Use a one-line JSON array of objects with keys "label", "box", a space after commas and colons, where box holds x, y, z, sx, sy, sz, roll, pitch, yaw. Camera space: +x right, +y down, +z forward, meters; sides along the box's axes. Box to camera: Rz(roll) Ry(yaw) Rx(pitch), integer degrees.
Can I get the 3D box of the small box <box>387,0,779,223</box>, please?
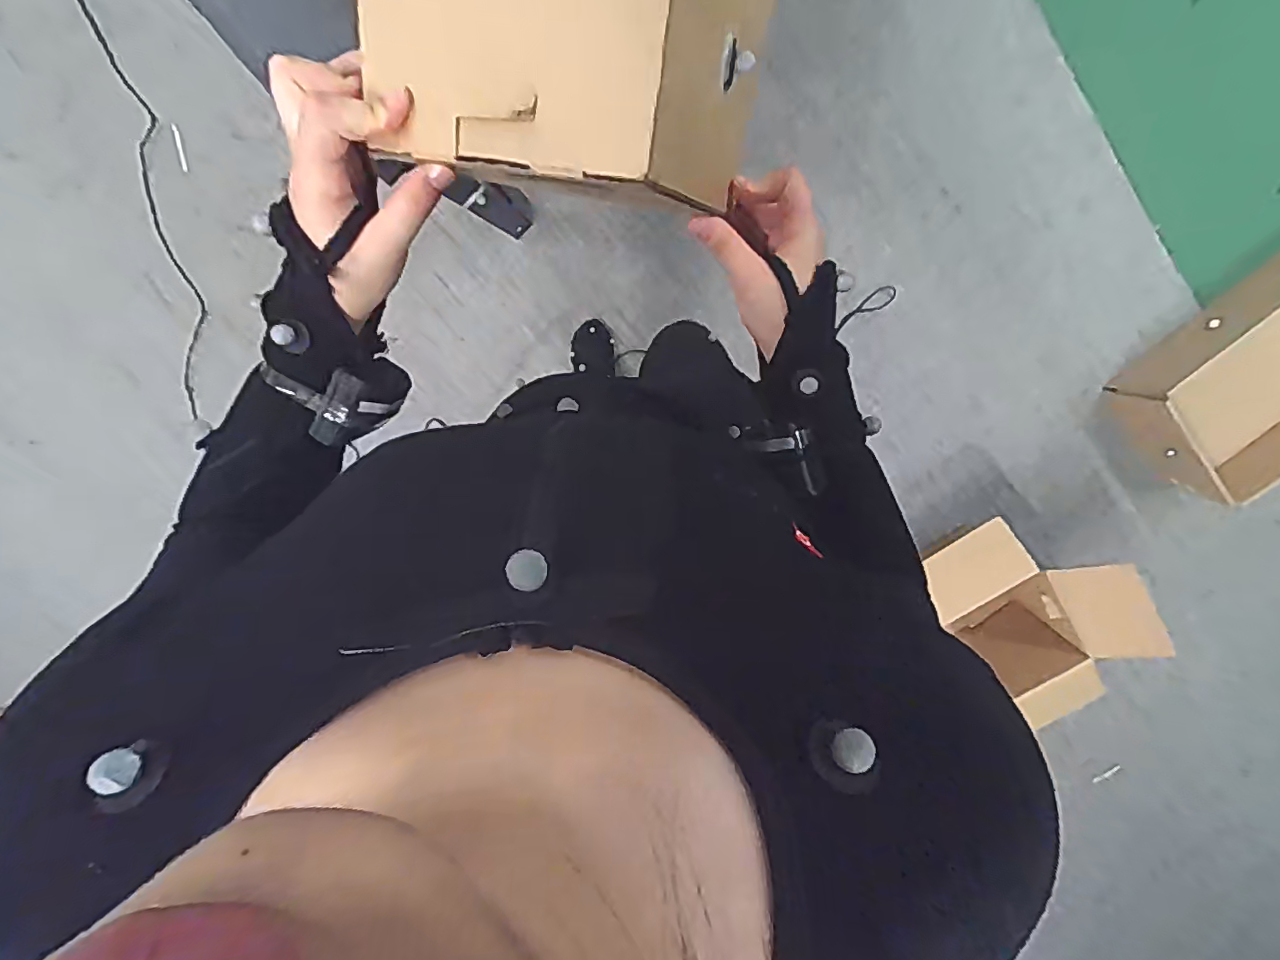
[{"label": "small box", "box": [-0.023, -0.255, 0.311, 0.168, 0.179, 0.176, 17, 115, 18]}]
